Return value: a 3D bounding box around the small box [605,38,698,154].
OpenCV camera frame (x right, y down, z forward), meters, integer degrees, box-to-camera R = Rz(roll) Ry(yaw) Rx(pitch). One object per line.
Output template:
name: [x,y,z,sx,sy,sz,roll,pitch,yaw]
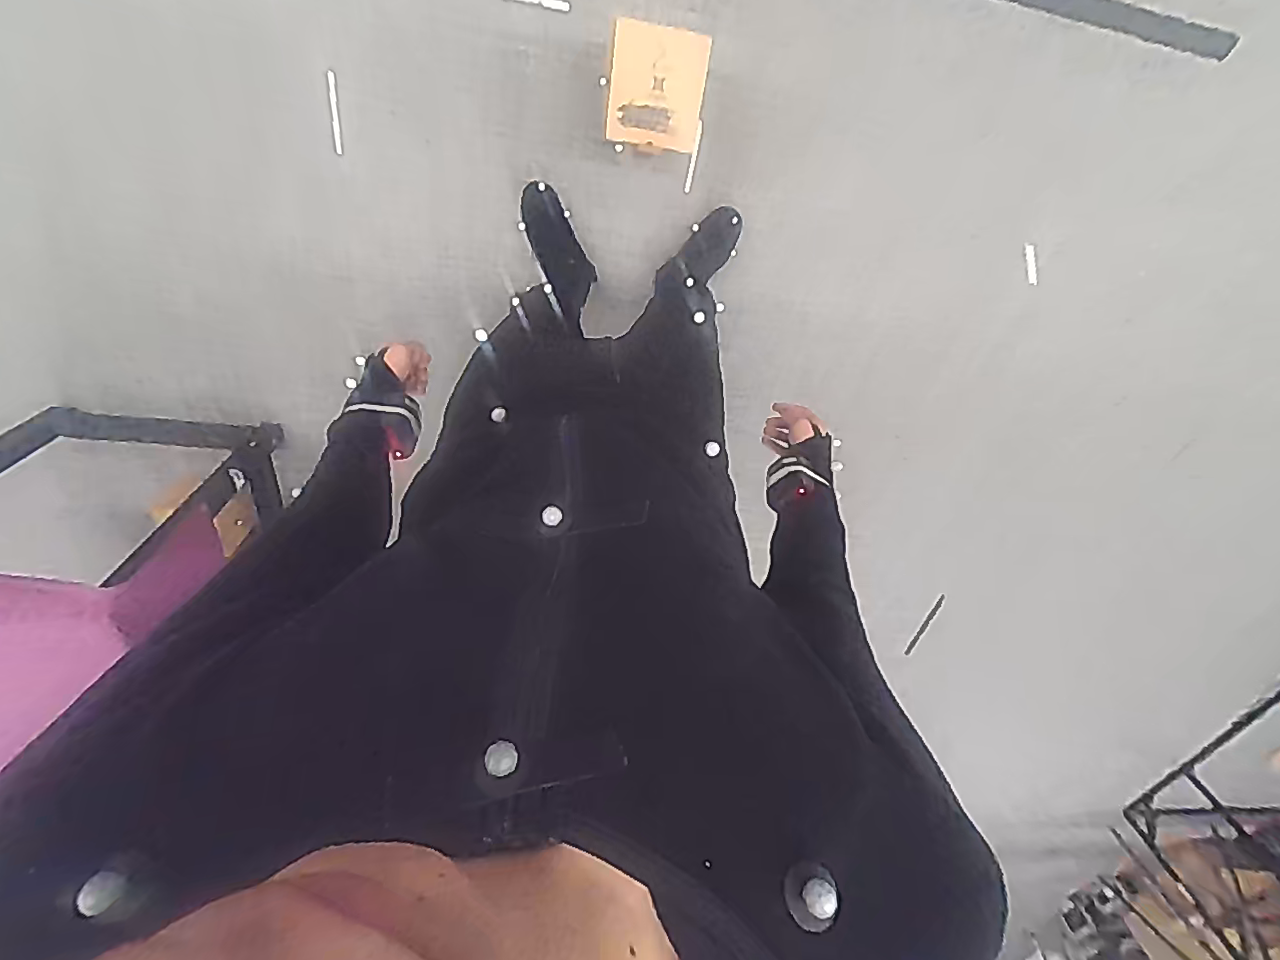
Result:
small box: [0.015,-0.810,1.150,0.168,0.176,0.179,2,125,-8]
